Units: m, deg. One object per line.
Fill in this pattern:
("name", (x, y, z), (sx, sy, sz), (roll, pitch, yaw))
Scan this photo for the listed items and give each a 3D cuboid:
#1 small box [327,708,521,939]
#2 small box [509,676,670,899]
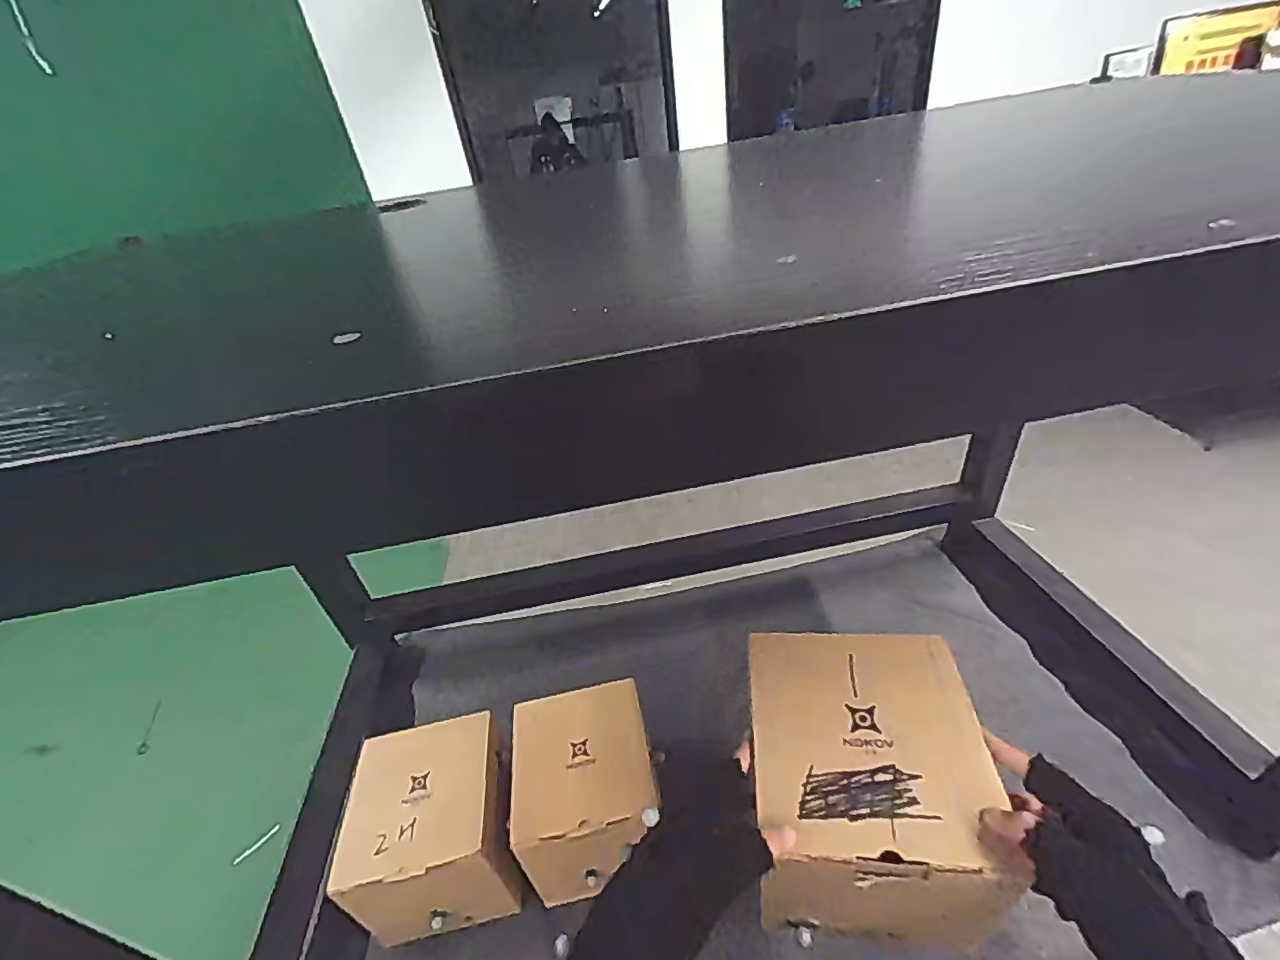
("small box", (-0.251, 0.427, 0.681), (0.168, 0.176, 0.179), (-12, 34, -4))
("small box", (-0.063, 0.390, 0.695), (0.168, 0.176, 0.179), (-12, 35, -3))
